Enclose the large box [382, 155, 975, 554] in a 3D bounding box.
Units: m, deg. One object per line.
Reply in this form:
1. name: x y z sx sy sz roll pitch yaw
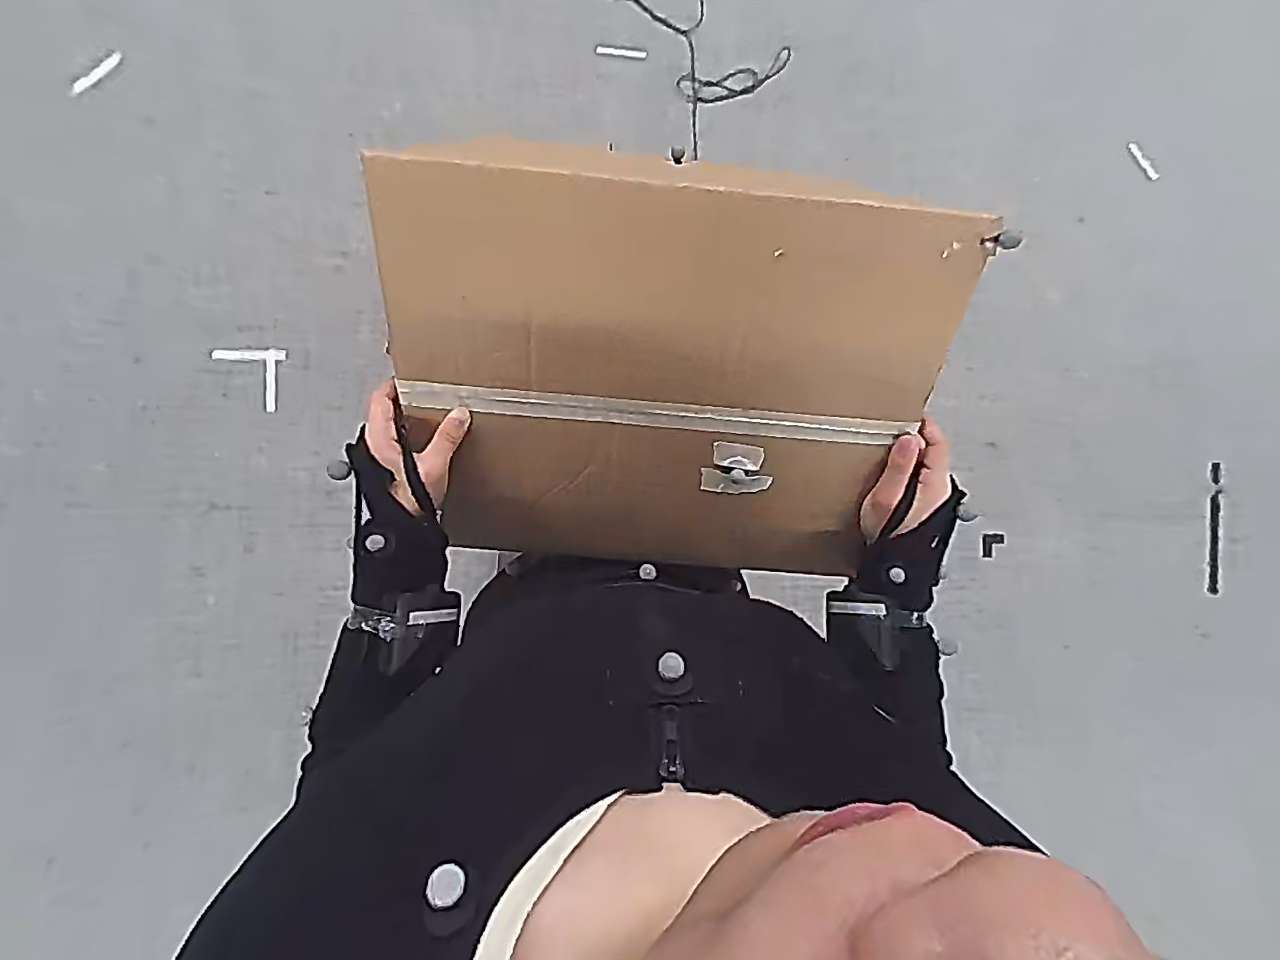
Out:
1. large box: 0.018 -0.145 0.561 0.408 0.320 0.320 3 124 -2
